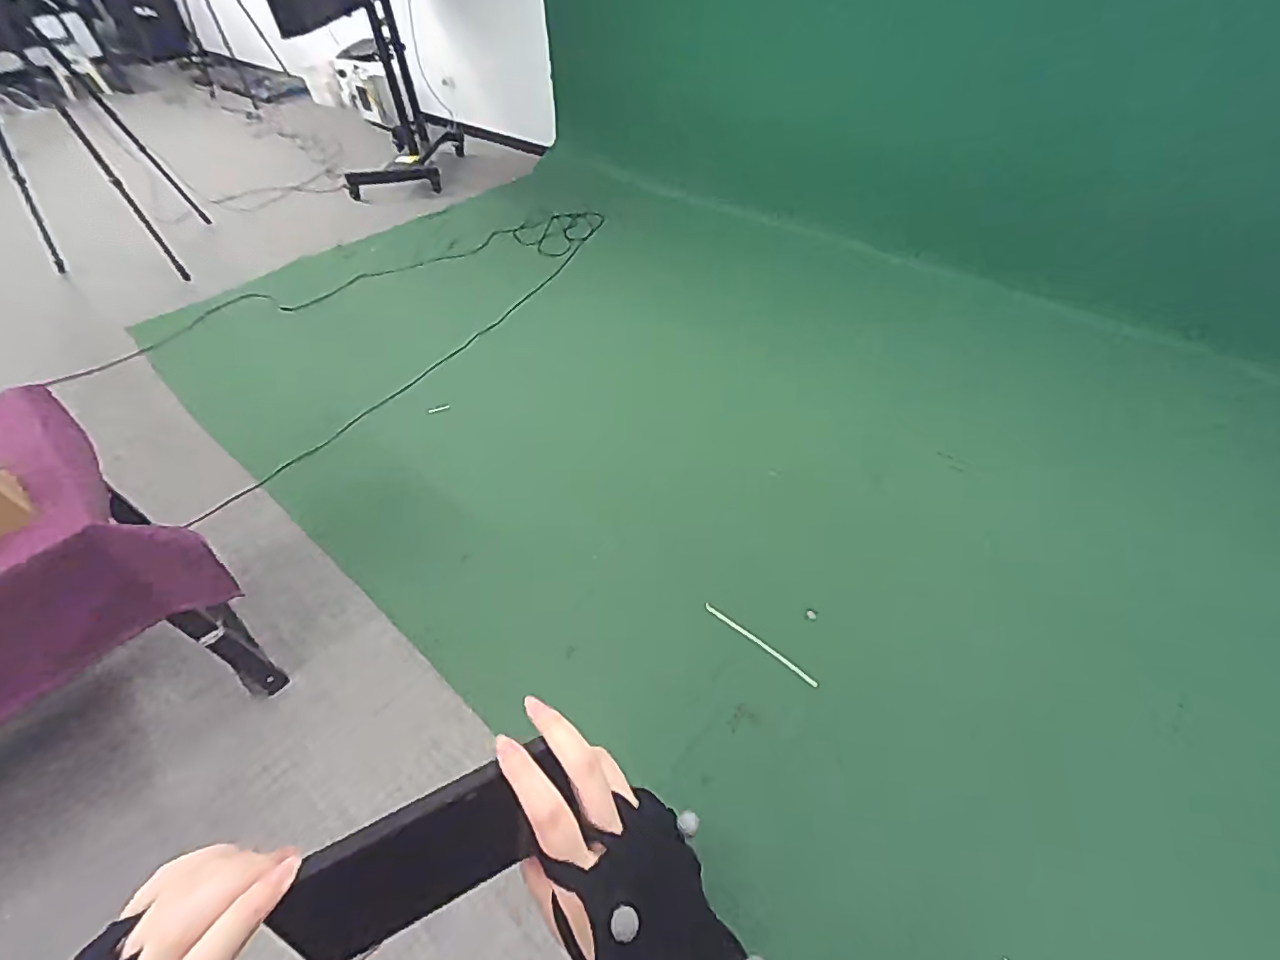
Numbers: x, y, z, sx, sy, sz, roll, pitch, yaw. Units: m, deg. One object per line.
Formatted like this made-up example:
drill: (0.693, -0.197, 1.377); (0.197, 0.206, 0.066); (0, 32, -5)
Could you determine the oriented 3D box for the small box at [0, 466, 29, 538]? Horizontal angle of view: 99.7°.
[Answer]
small box: (-1.198, 0.028, 0.905); (0.168, 0.176, 0.179); (31, 56, 27)
